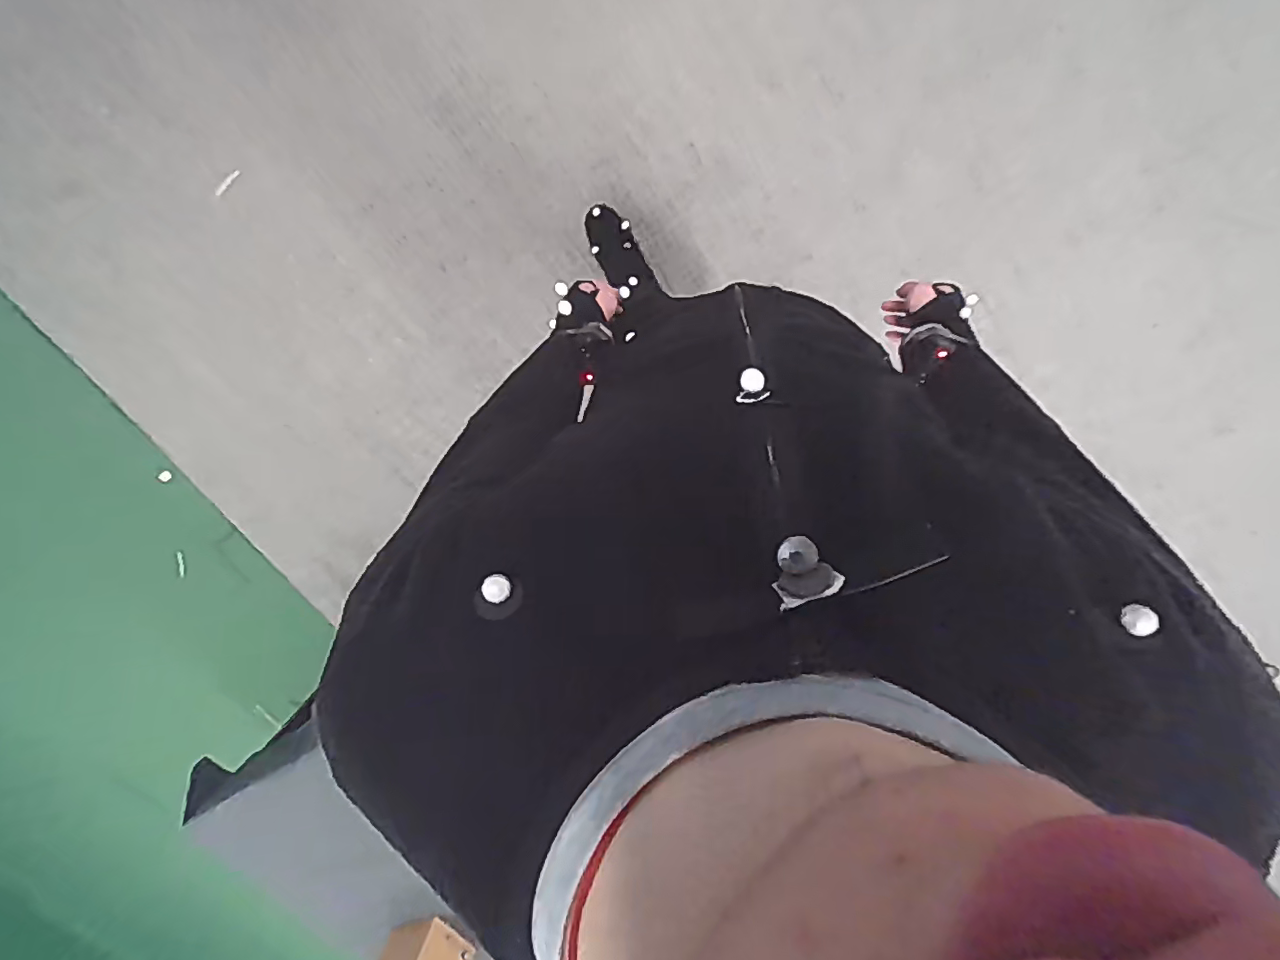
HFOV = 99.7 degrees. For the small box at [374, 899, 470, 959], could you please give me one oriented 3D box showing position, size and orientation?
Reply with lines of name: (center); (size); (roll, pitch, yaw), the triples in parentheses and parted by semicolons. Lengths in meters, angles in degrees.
small box: (-0.572, 1.238, 1.412); (0.179, 0.176, 0.168); (-30, 107, 20)
